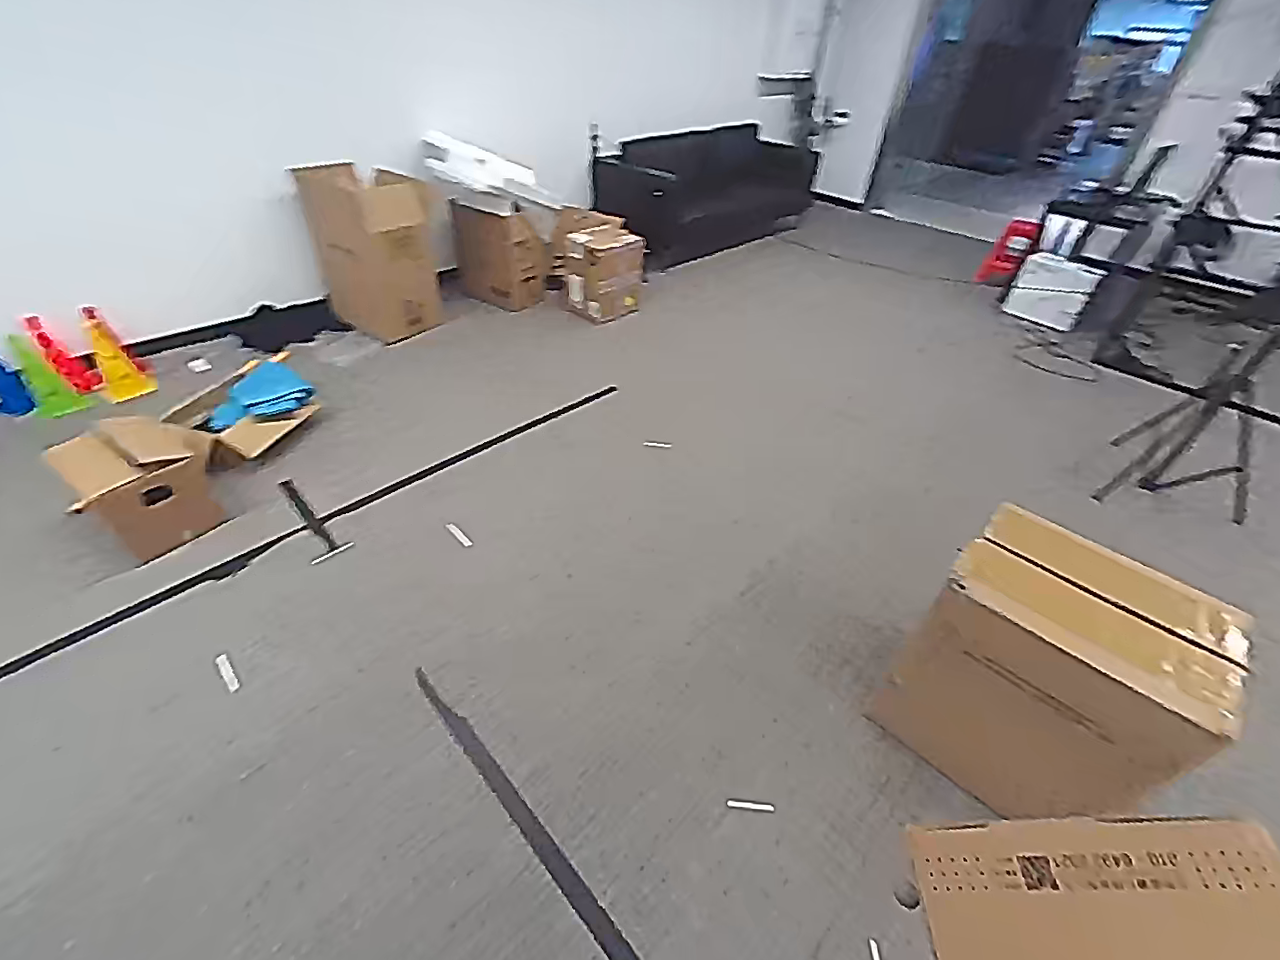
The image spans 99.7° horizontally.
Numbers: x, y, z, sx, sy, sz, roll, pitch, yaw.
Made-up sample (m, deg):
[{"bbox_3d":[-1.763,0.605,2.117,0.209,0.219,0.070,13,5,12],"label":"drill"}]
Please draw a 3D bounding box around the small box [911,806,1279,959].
[{"bbox_3d":[0.269,0.289,0.312,0.168,0.179,0.176,-16,55,19],"label":"small box"}]
